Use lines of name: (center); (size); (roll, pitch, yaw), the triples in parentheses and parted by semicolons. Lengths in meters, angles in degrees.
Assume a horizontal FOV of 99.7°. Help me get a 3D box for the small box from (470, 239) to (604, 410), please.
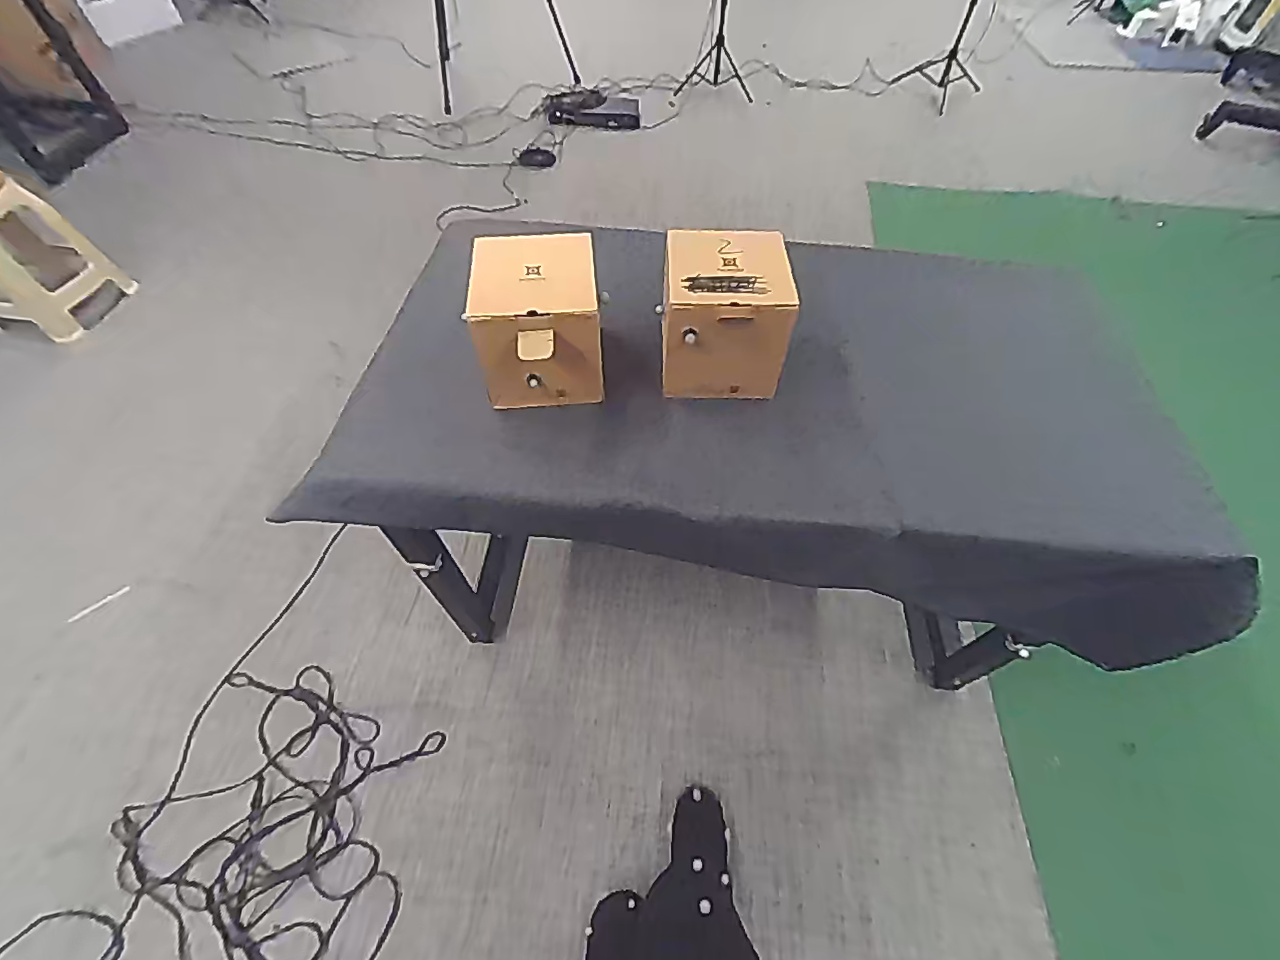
small box: (-0.139, -0.223, 0.783); (0.168, 0.176, 0.179); (-4, 56, -5)
